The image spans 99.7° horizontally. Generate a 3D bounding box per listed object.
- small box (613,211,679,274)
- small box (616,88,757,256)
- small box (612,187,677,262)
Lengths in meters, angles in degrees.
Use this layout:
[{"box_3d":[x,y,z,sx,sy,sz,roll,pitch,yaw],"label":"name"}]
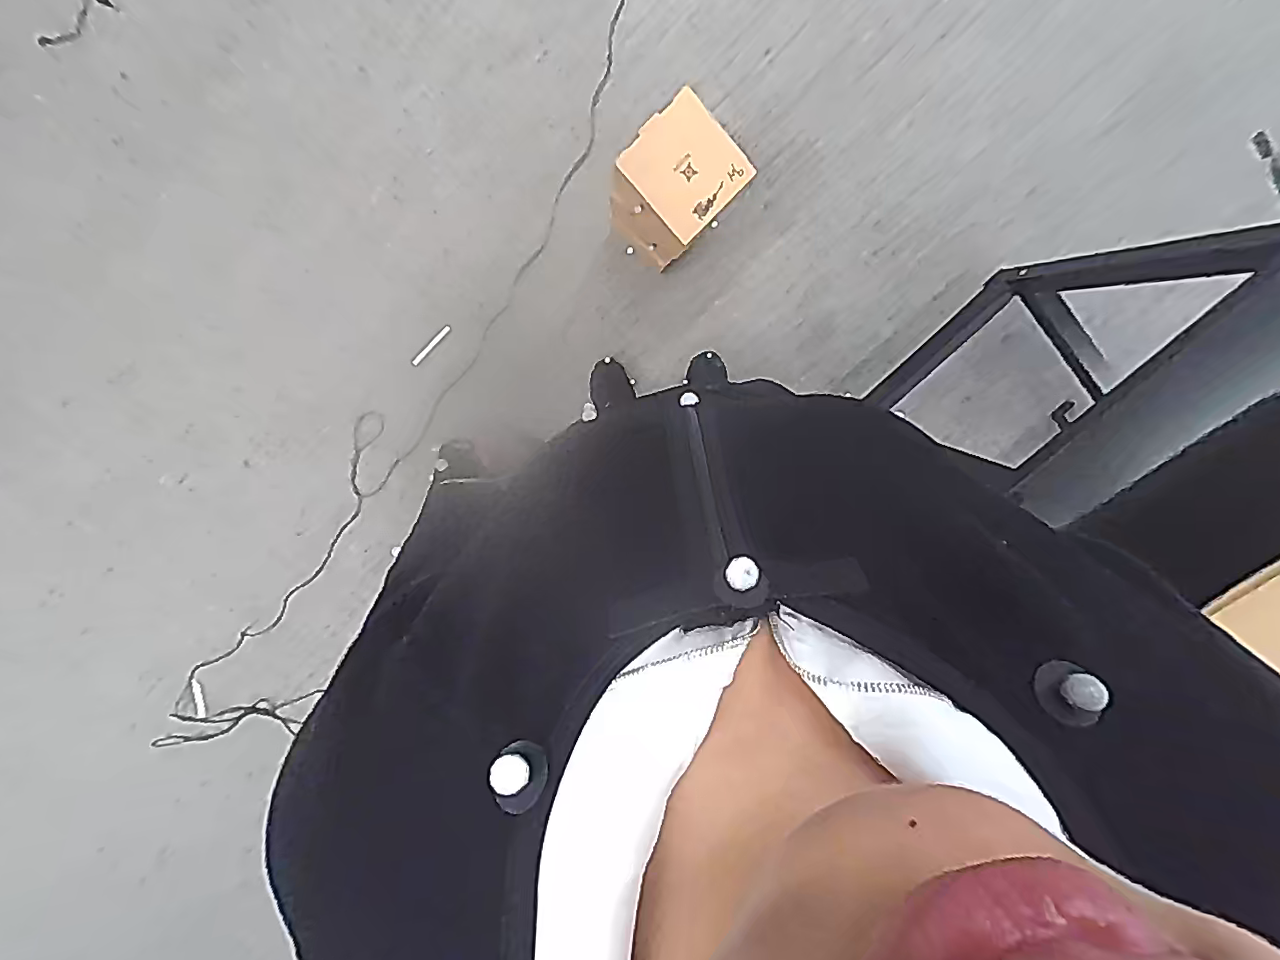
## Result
[{"box_3d":[0.050,-0.613,1.274,0.168,0.176,0.179,41,100,-11],"label":"small box"},{"box_3d":[0.073,-0.527,0.960,0.168,0.176,0.179,-43,102,8],"label":"small box"},{"box_3d":[0.059,-0.579,1.116,0.168,0.176,0.179,38,99,-12],"label":"small box"}]
